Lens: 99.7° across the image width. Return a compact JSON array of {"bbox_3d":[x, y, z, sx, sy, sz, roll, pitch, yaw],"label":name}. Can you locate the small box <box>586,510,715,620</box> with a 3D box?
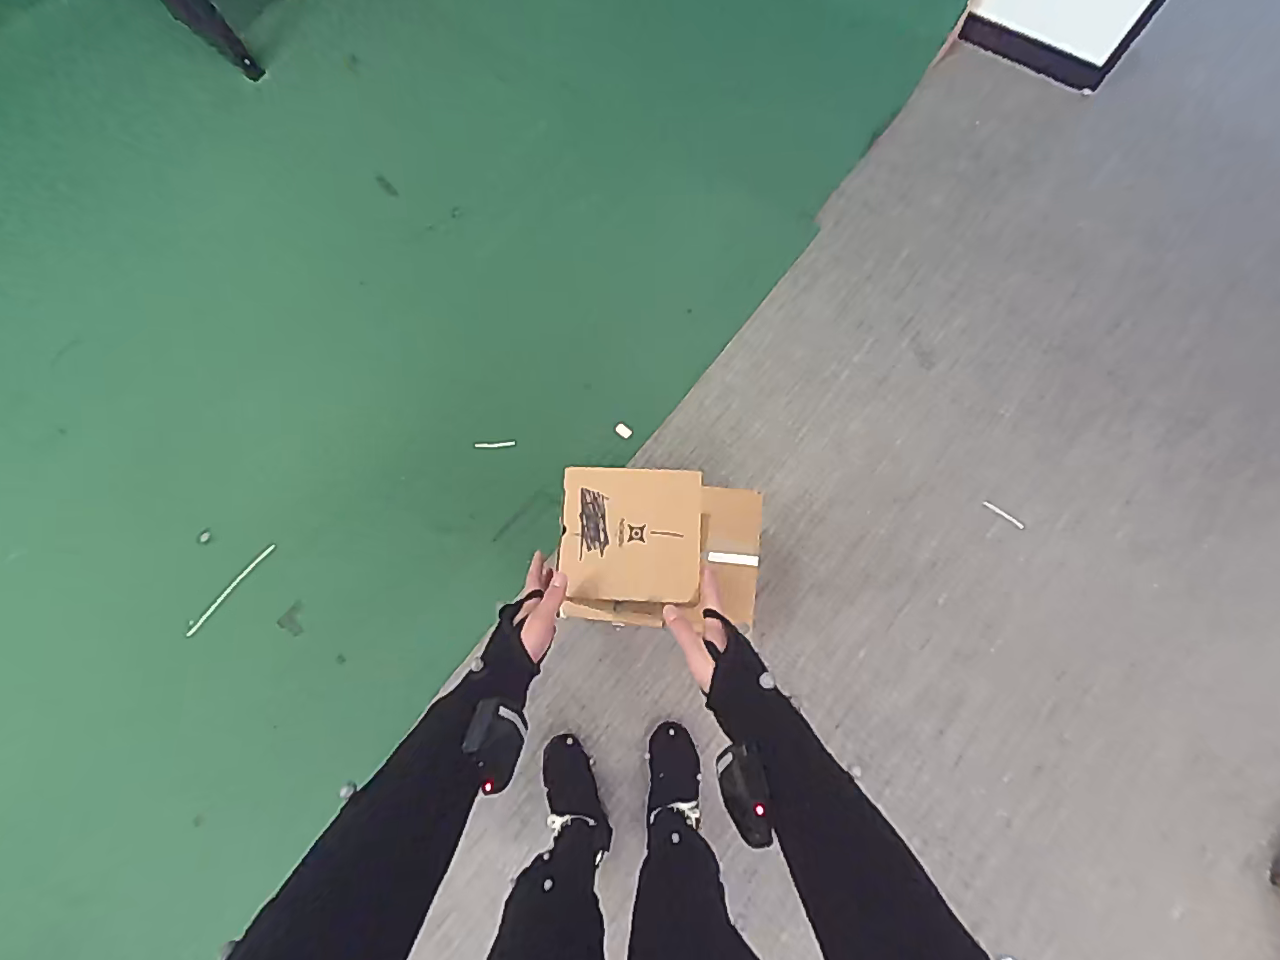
[{"bbox_3d":[0.019,0.133,0.885,0.179,0.176,0.168,8,75,6],"label":"small box"}]

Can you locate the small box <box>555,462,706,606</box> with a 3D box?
[{"bbox_3d":[-0.005,0.080,0.731,0.179,0.176,0.168,2,75,4],"label":"small box"}]
